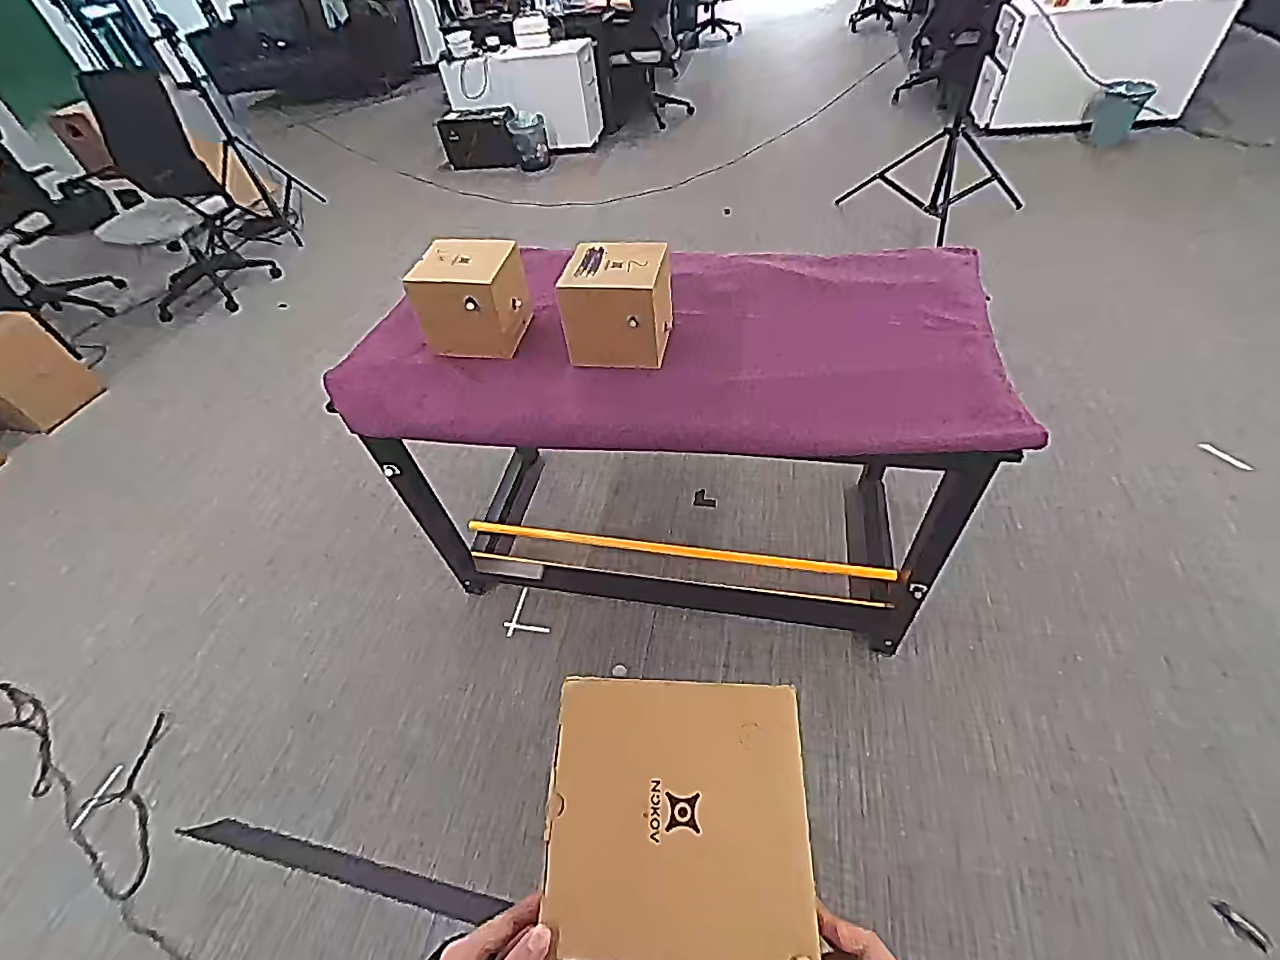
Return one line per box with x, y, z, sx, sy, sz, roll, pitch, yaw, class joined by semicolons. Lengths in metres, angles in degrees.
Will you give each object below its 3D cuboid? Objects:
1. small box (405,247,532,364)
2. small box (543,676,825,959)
-0.333;-0.352;1.098;0.179;0.176;0.168;4;49;9;small box
0.035;0.260;0.438;0.179;0.176;0.168;-1;61;6;small box
